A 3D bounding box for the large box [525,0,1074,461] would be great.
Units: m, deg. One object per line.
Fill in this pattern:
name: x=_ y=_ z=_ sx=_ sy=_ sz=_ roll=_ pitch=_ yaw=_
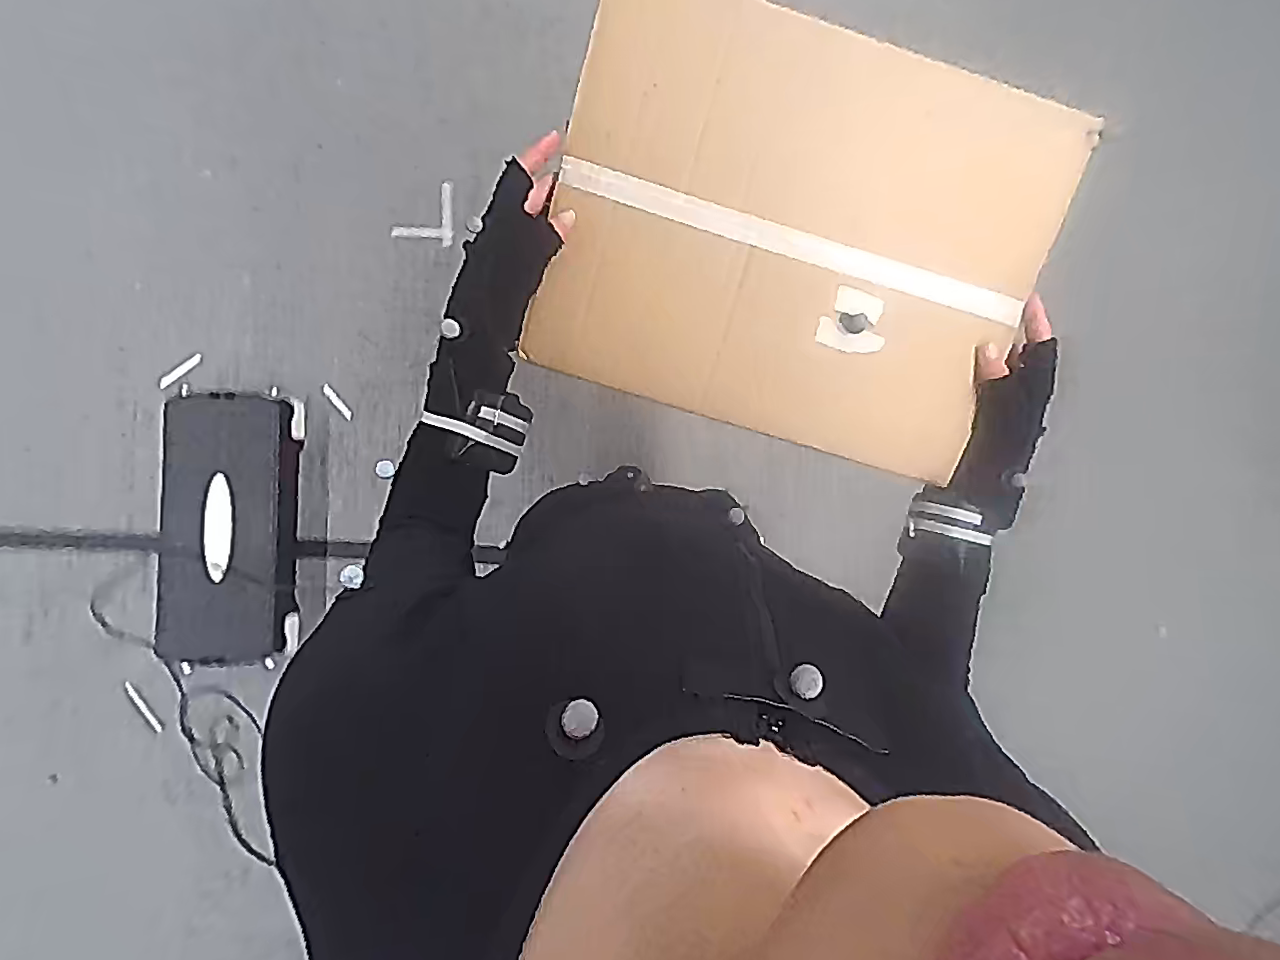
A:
large box: x=0.121 y=-0.237 z=0.600 sx=0.408 sy=0.320 sz=0.320 roll=14 pitch=103 yaw=-4
